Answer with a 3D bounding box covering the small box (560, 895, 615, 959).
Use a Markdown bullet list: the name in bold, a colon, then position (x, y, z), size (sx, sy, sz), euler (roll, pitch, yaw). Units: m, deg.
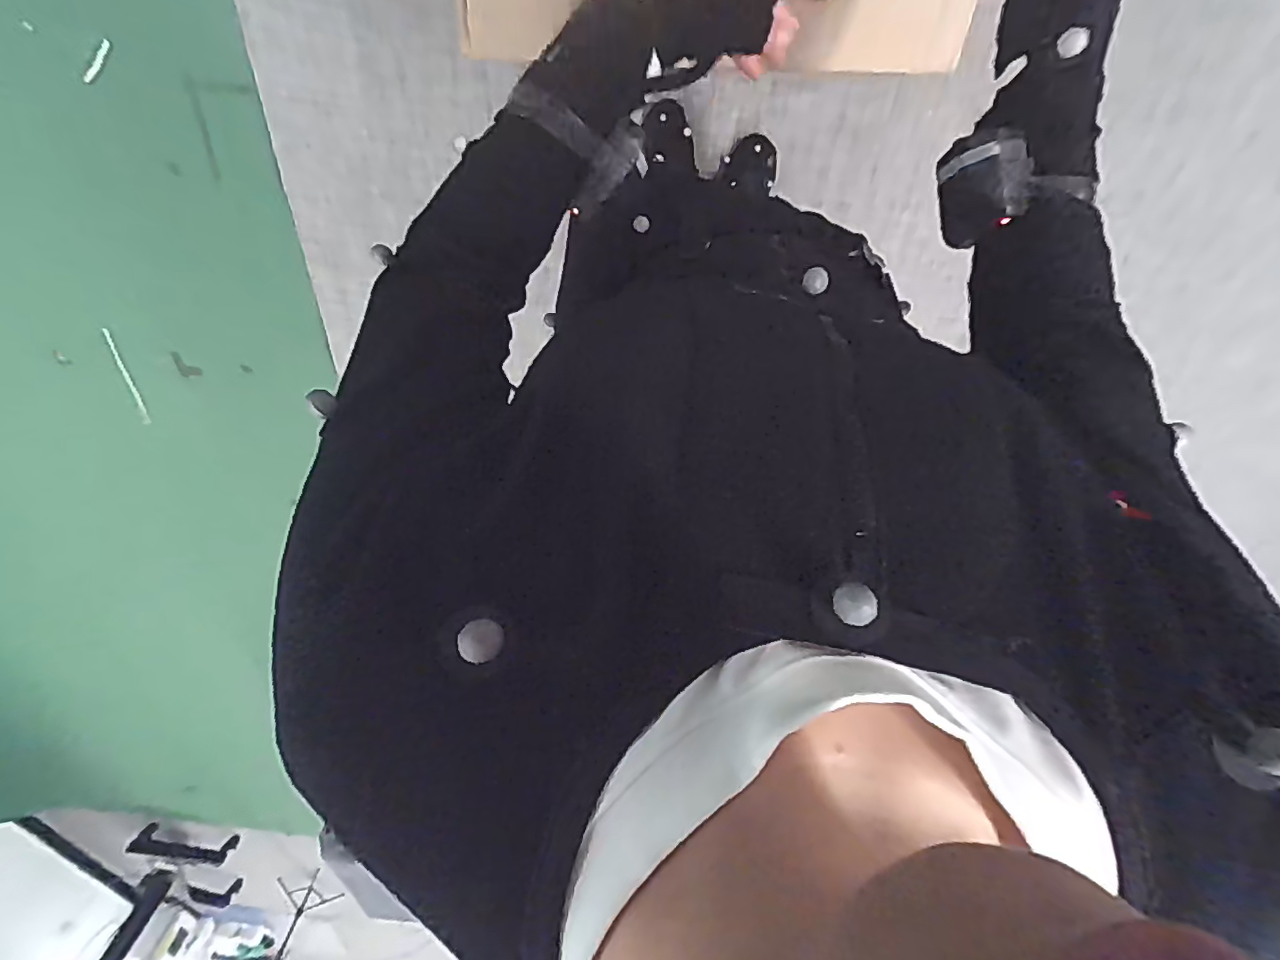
- **small box**: position (-0.176, 1.554, 1.852), size (0.168, 0.176, 0.179), euler (4, 127, 2)
